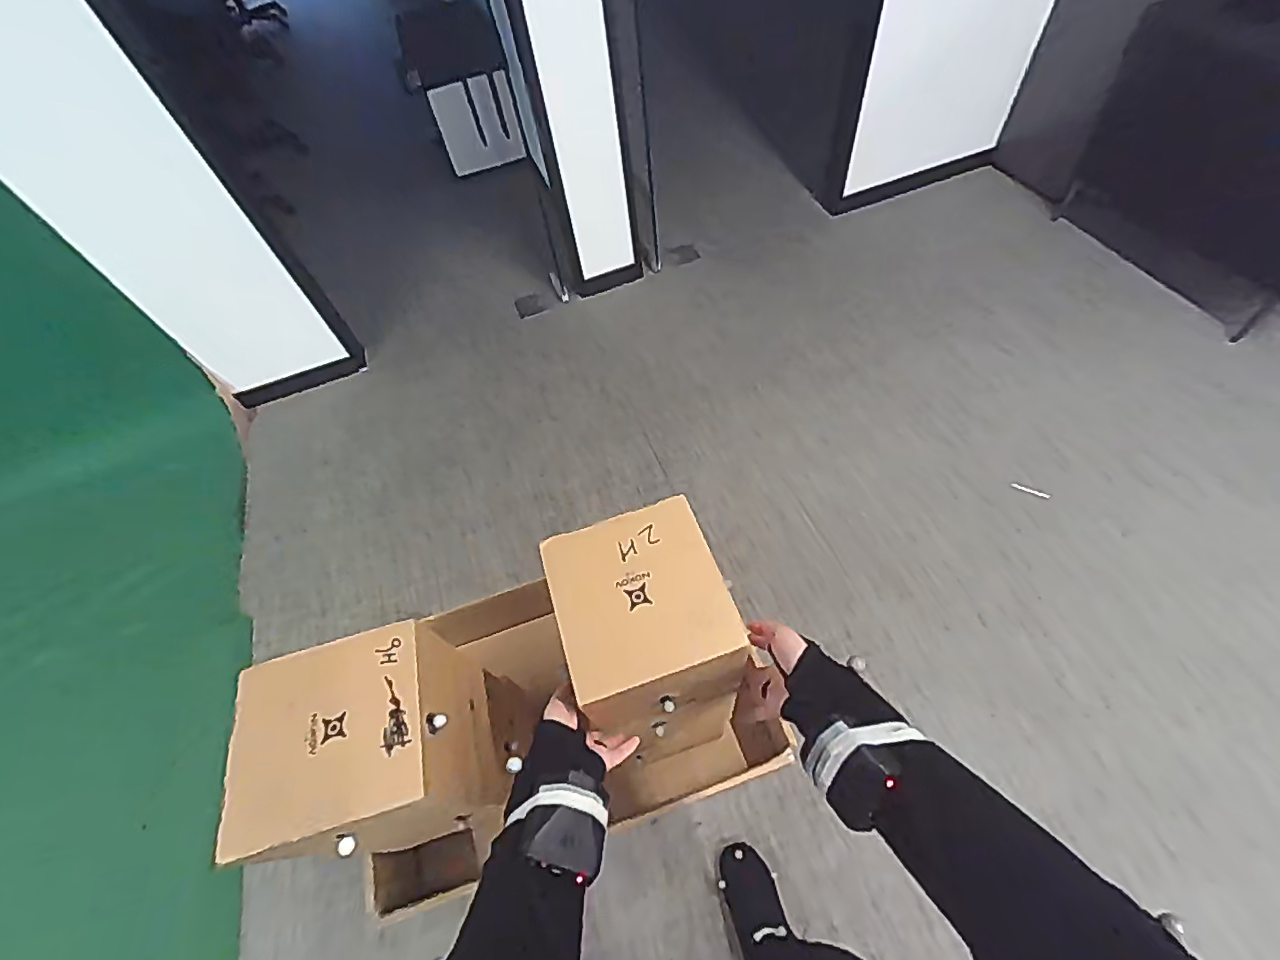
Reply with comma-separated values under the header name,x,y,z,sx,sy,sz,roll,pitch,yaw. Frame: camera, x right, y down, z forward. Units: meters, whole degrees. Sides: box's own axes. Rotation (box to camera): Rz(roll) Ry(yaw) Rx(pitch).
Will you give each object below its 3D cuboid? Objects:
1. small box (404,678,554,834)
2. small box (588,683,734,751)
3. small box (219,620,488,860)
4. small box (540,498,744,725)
name,x,y,z,sx,sy,sz,roll,pitch,yaw
small box,-0.250,0.434,0.842,0.179,0.176,0.168,-17,57,-5
small box,0.017,0.249,0.729,0.179,0.176,0.168,-16,56,-4
small box,-0.277,0.271,0.559,0.179,0.176,0.168,-16,57,-4
small box,0.004,0.153,0.595,0.168,0.176,0.179,-17,56,-5
